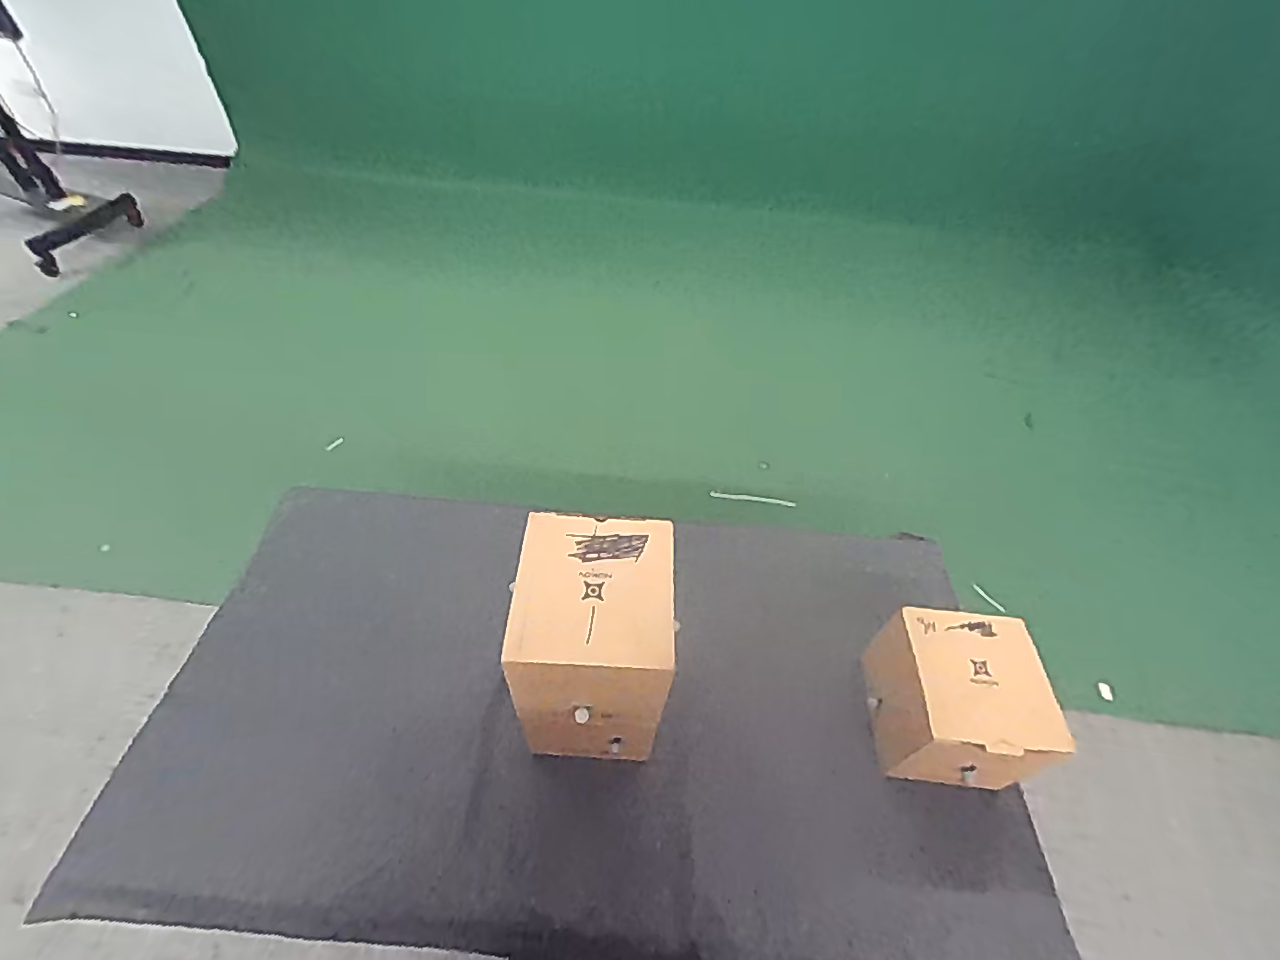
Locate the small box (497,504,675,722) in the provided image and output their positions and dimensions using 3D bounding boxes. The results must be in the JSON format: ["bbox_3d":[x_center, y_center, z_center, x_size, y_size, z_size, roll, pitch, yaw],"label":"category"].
[{"bbox_3d":[-0.053,0.150,0.607,0.168,0.176,0.179,4,50,-2],"label":"small box"}]

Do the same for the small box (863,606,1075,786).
[{"bbox_3d":[0.420,0.295,0.729,0.168,0.176,0.179,7,49,2],"label":"small box"}]

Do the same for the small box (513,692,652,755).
[{"bbox_3d":[-0.066,0.256,0.732,0.168,0.176,0.179,5,48,-1],"label":"small box"}]
